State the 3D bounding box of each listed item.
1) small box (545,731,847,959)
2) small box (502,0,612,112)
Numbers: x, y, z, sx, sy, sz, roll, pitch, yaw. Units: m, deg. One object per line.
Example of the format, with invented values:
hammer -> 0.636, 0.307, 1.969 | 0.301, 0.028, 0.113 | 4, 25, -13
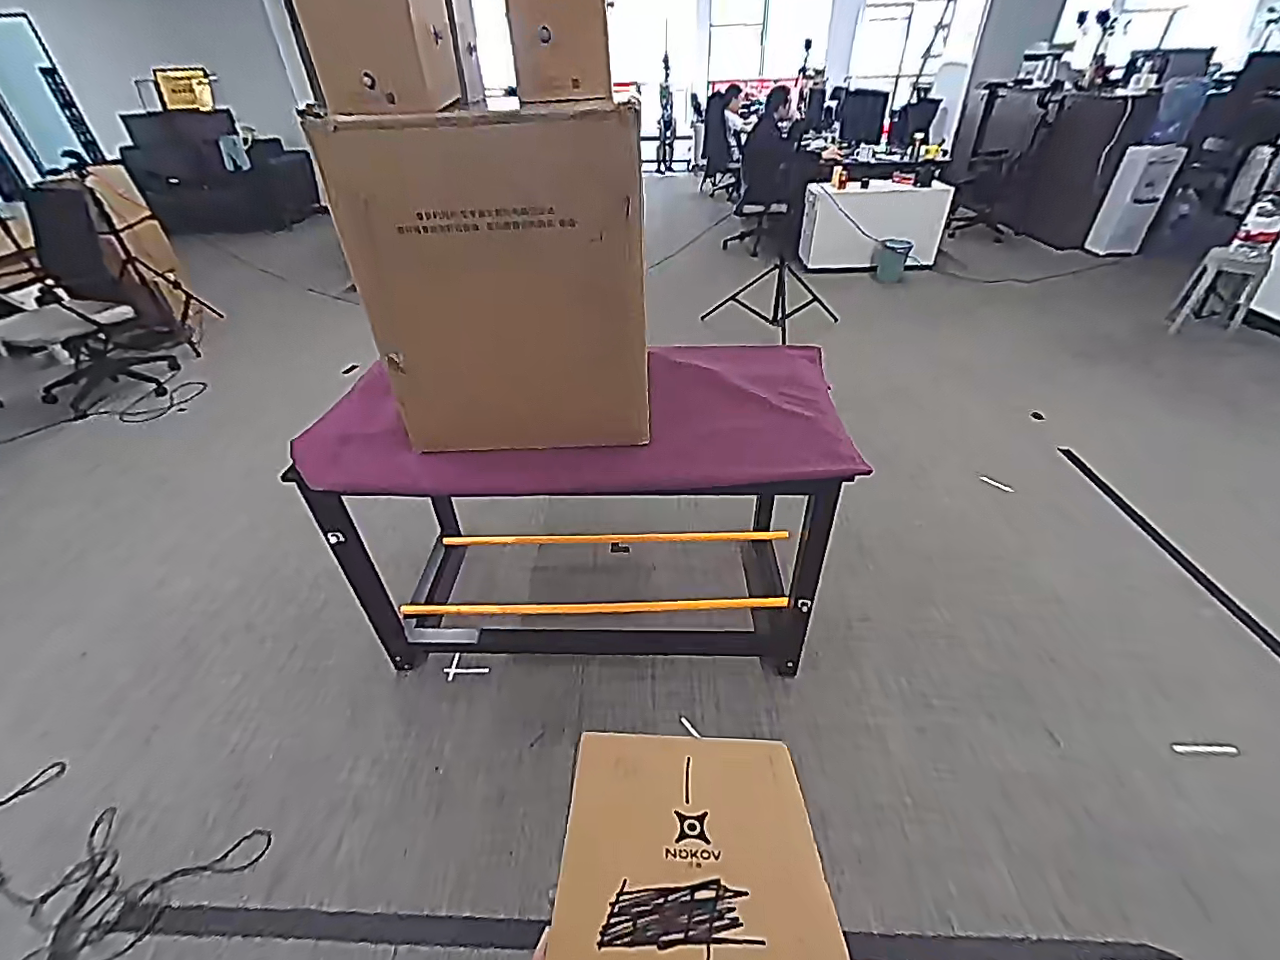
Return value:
small box -> 0.032, 0.310, 0.380 | 0.168, 0.176, 0.179 | 2, 19, 1
small box -> -0.139, -0.774, 0.977 | 0.168, 0.176, 0.179 | -4, 37, 0
